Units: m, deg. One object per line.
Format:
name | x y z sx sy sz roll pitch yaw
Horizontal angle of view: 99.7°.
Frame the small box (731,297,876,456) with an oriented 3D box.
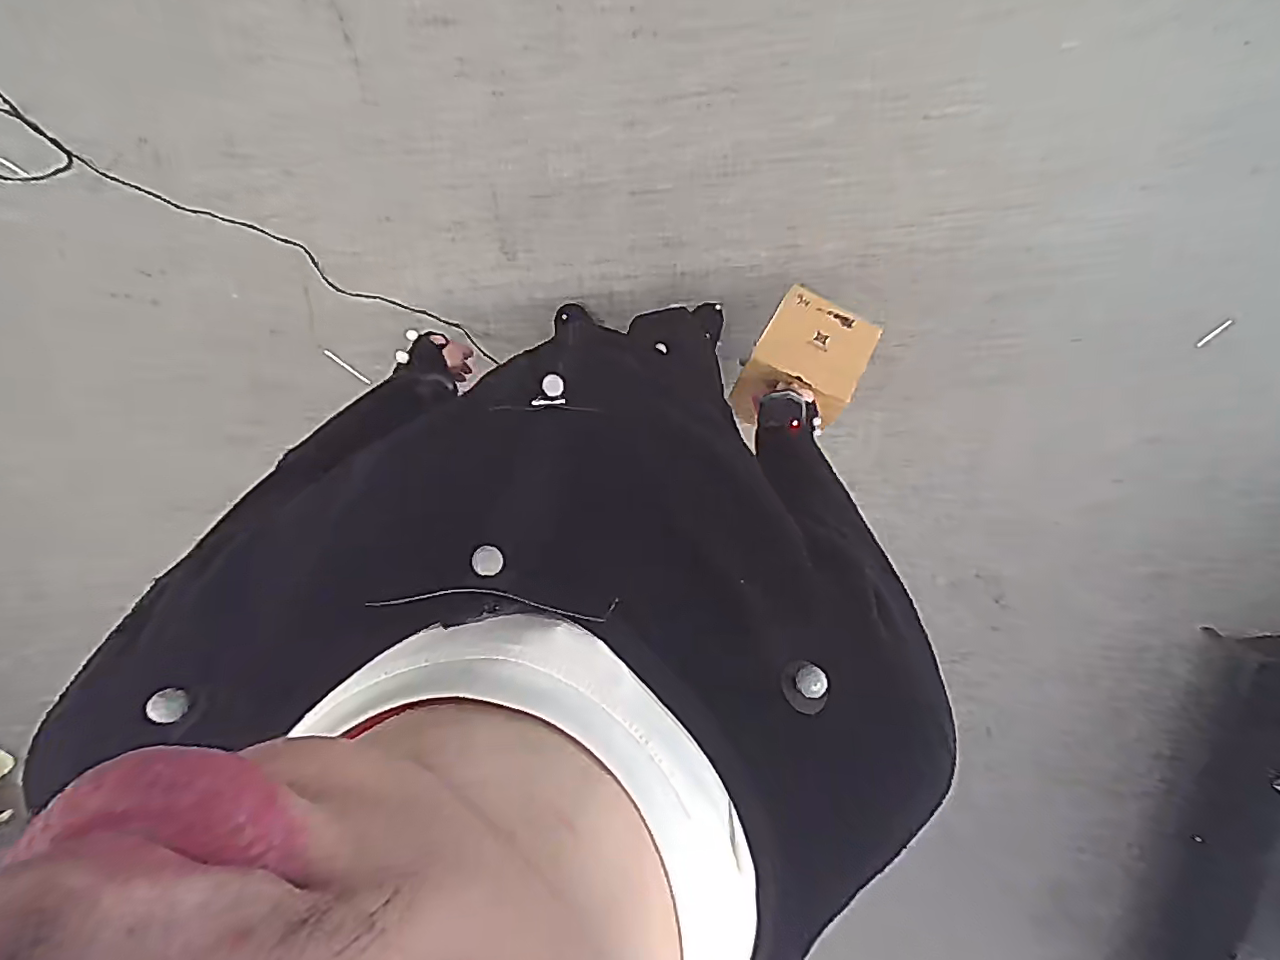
small box | 0.272 -0.170 0.933 0.168 0.176 0.179 27 65 7
